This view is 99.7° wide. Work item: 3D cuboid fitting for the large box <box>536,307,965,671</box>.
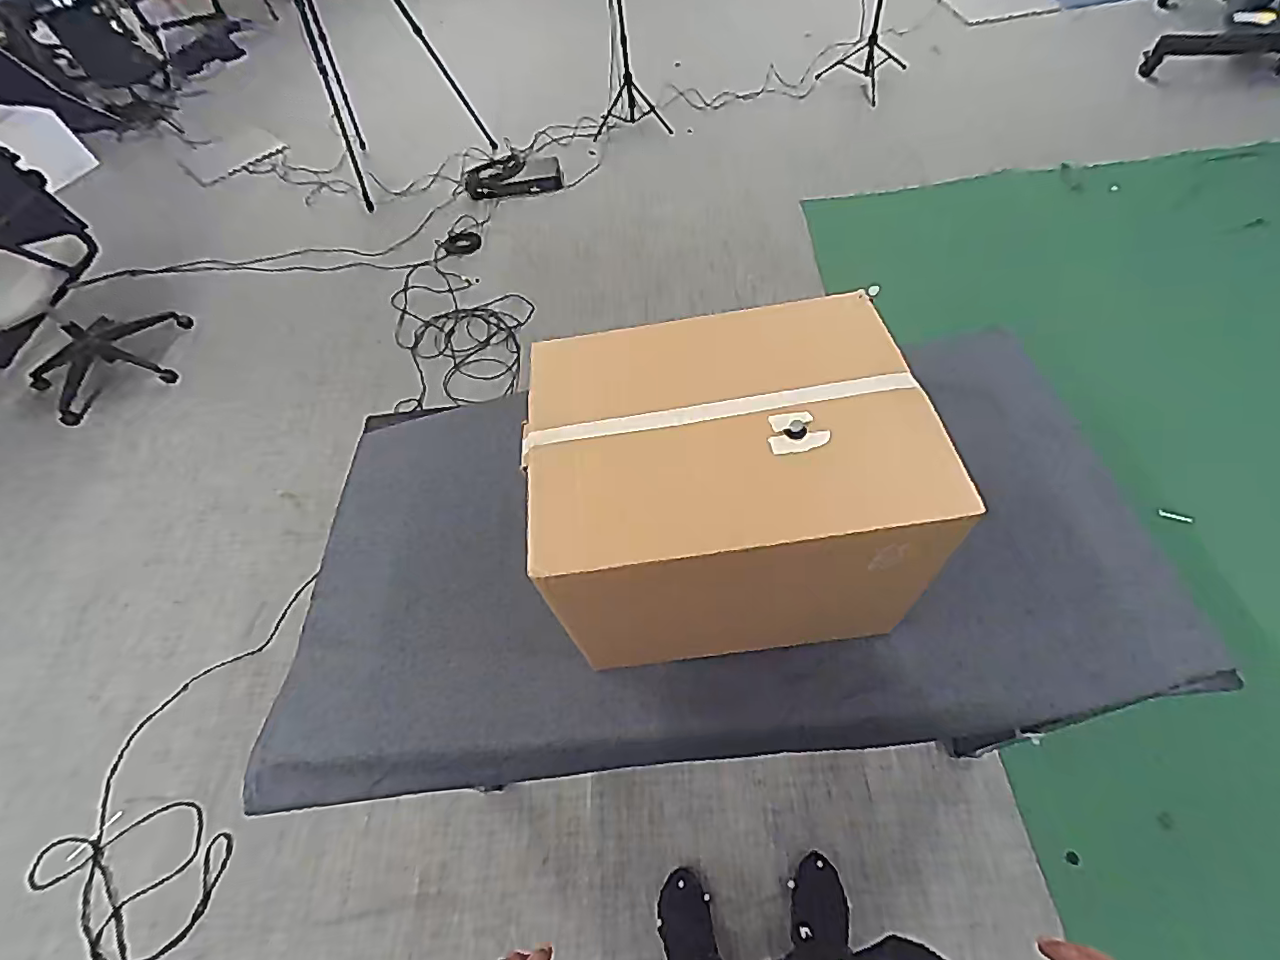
[{"bbox_3d":[0.099,0.026,0.698,0.408,0.320,0.320,-9,56,2],"label":"large box"}]
